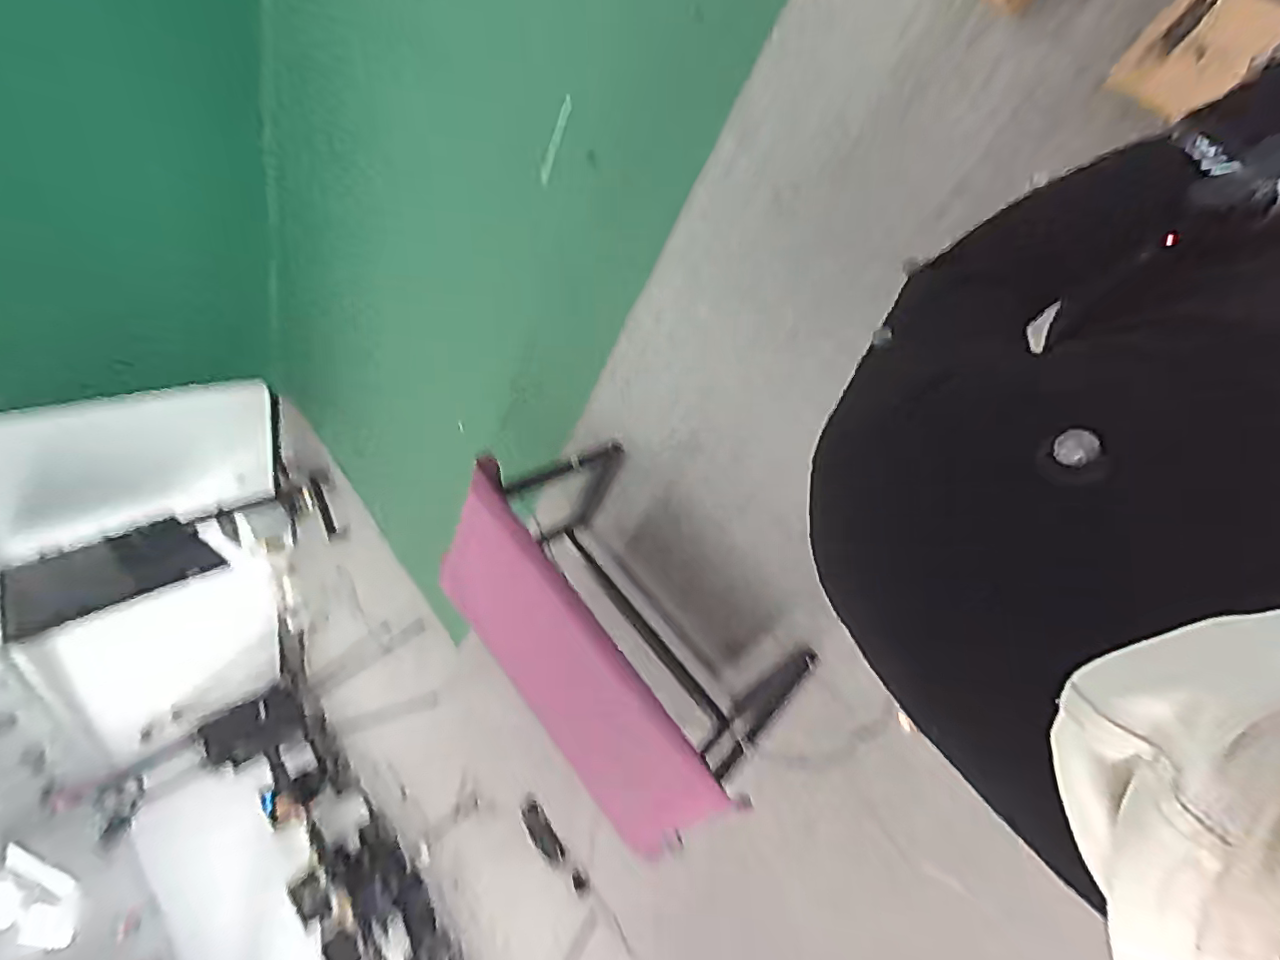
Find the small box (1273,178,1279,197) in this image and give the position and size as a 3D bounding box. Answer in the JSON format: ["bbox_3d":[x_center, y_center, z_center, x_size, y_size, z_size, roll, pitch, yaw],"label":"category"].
[{"bbox_3d":[1.208,-0.510,0.875,0.179,0.176,0.168,47,132,16],"label":"small box"}]
